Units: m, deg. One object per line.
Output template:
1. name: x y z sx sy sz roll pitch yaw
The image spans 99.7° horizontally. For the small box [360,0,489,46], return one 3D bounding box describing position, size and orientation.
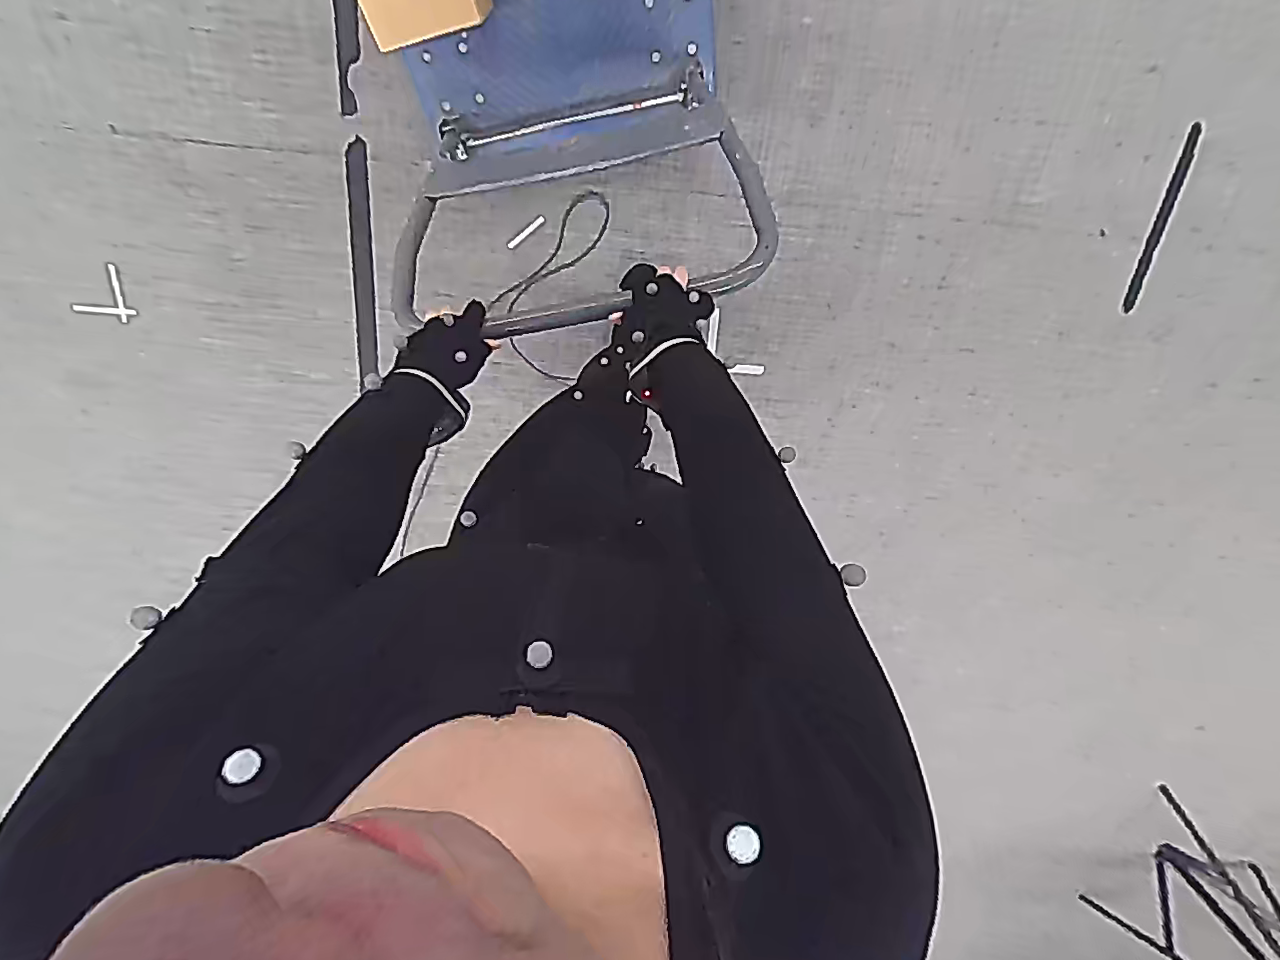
1. small box: -0.354 -0.821 0.856 0.179 0.176 0.168 -12 136 6
